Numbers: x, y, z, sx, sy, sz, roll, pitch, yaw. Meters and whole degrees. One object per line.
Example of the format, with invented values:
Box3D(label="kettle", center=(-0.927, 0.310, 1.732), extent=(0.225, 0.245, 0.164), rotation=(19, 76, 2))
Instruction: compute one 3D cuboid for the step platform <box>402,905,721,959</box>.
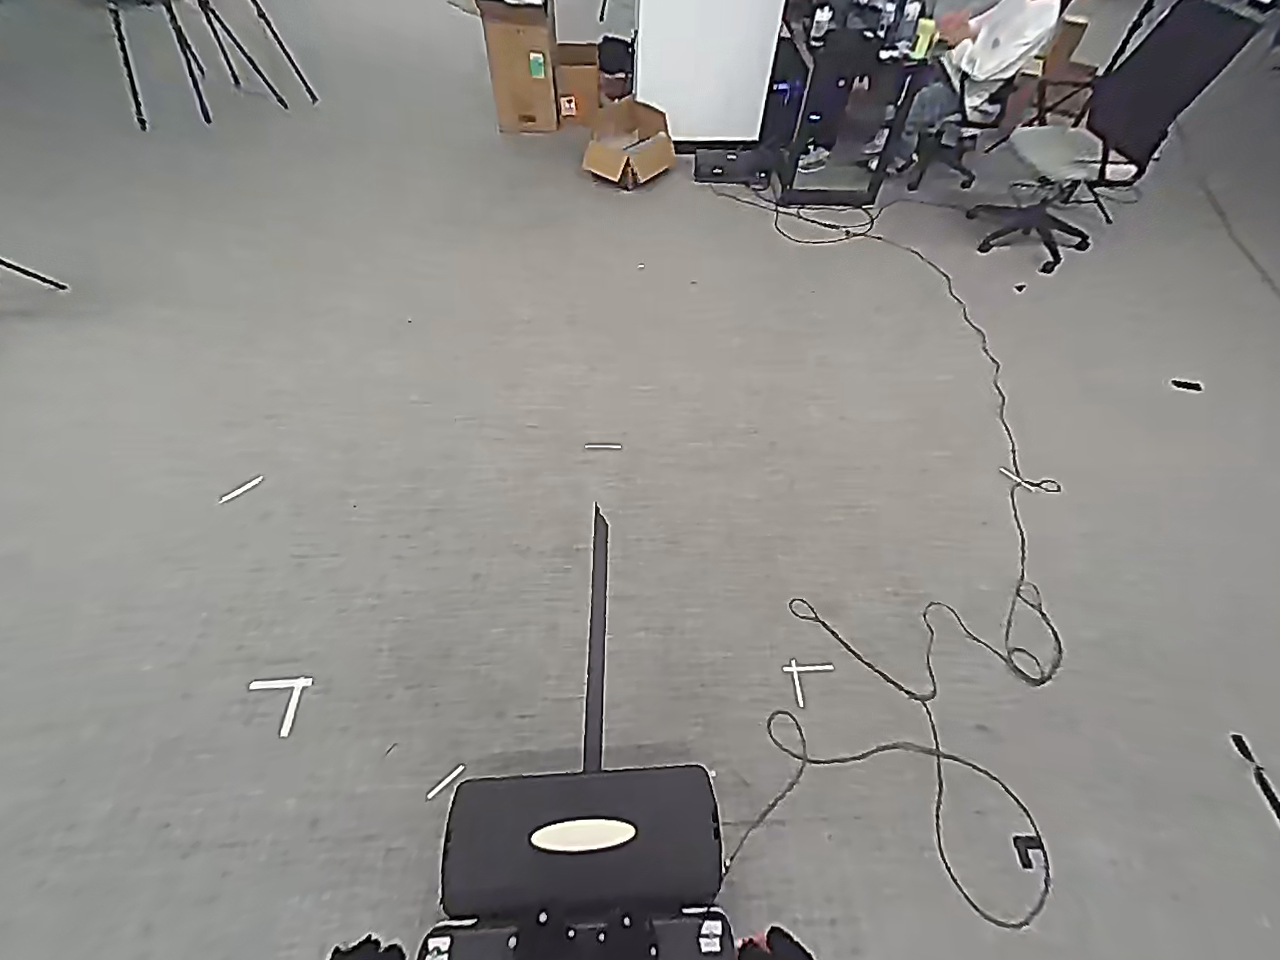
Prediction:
Box3D(label="step platform", center=(-0.161, 1.089, 1.130), extent=(0.684, 0.204, 0.286), rotation=(-2, 54, -2))
